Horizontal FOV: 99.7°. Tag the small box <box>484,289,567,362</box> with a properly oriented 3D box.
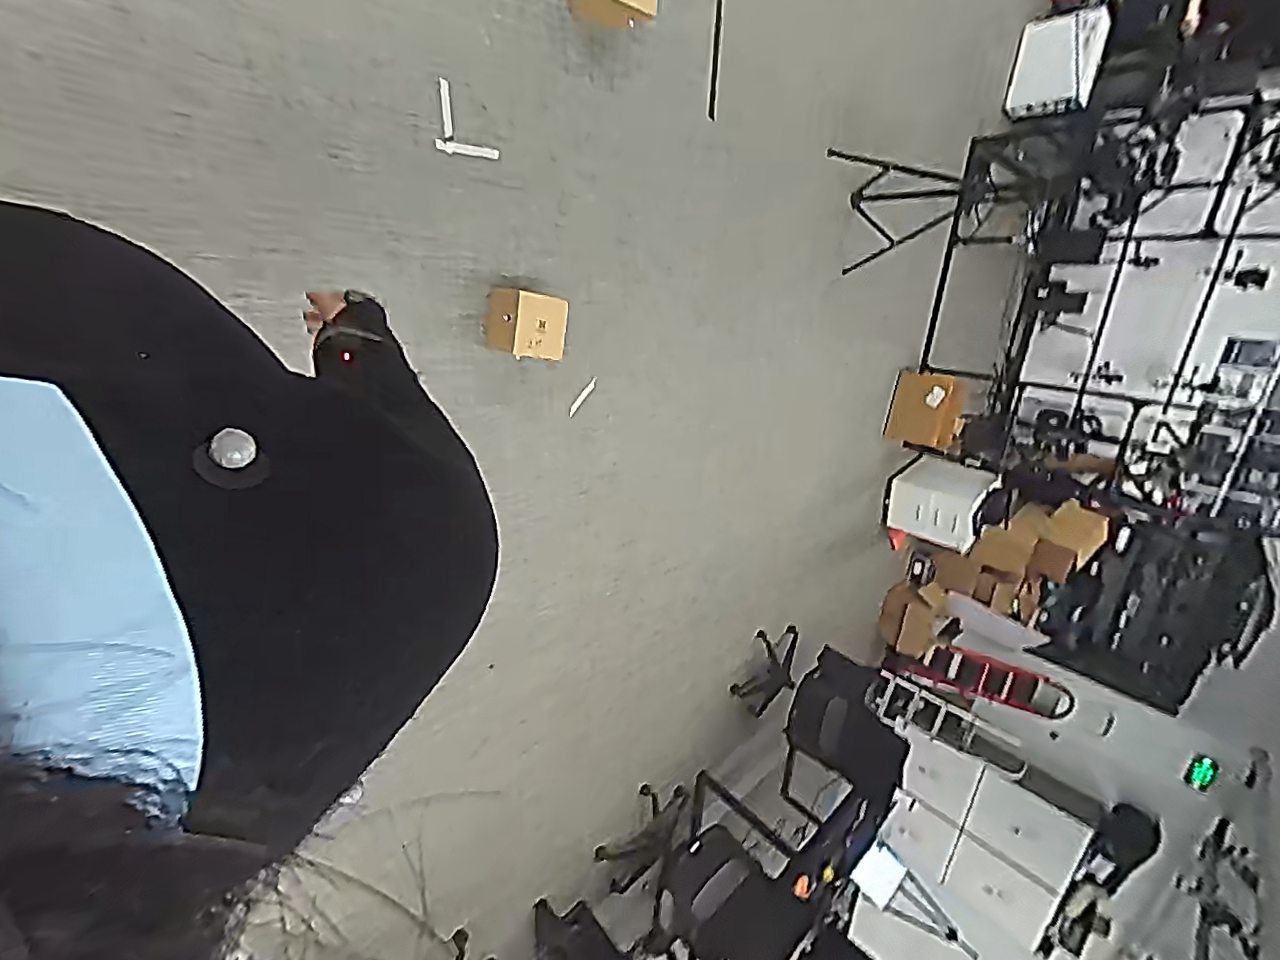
[{"bbox_3d":[-0.338,-0.452,1.580,0.168,0.176,0.179,-2,109,-44],"label":"small box"}]
